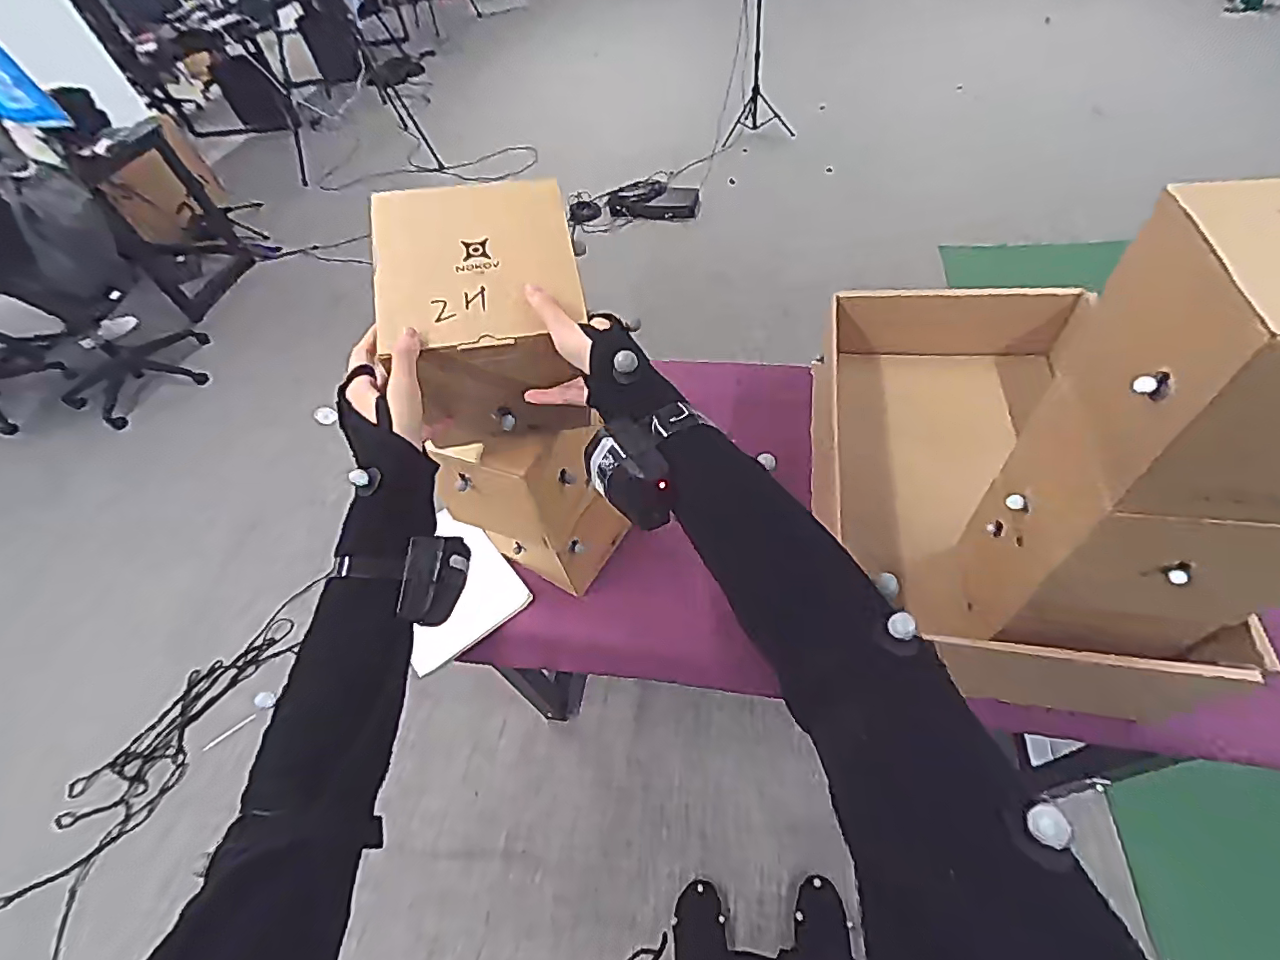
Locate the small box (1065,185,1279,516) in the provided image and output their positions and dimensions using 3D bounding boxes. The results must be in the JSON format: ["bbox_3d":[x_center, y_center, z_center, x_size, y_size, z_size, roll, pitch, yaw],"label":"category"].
[{"bbox_3d":[0.449,-0.086,0.385,0.168,0.176,0.179,5,53,15],"label":"small box"}]

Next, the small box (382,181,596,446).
[{"bbox_3d":[-0.138,-0.155,0.529,0.168,0.176,0.179,-9,70,-8],"label":"small box"}]

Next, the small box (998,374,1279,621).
[{"bbox_3d":[0.474,0.019,0.508,0.179,0.176,0.168,4,53,15],"label":"small box"}]

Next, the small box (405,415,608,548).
[{"bbox_3d":[-0.159,-0.031,0.714,0.179,0.176,0.168,14,56,20],"label":"small box"}]
